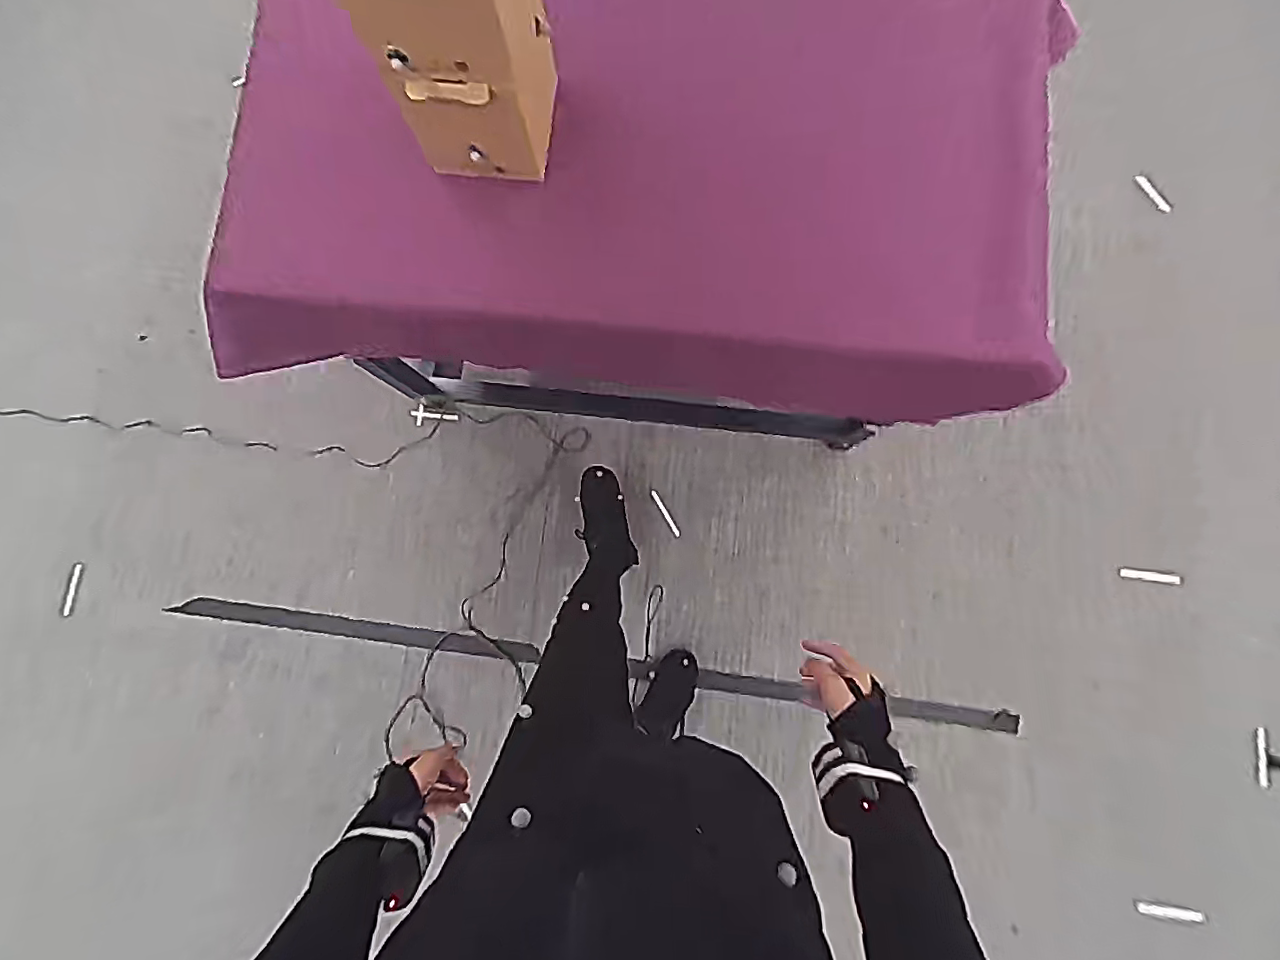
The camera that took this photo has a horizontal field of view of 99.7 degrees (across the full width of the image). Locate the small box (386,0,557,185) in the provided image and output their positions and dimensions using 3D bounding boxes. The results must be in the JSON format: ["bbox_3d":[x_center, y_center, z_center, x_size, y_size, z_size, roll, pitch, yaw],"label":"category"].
[{"bbox_3d":[-0.215,-0.545,0.740,0.168,0.176,0.179,6,82,3],"label":"small box"}]

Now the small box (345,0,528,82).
[{"bbox_3d":[-0.221,-0.569,0.578,0.168,0.176,0.179,2,81,2],"label":"small box"}]
